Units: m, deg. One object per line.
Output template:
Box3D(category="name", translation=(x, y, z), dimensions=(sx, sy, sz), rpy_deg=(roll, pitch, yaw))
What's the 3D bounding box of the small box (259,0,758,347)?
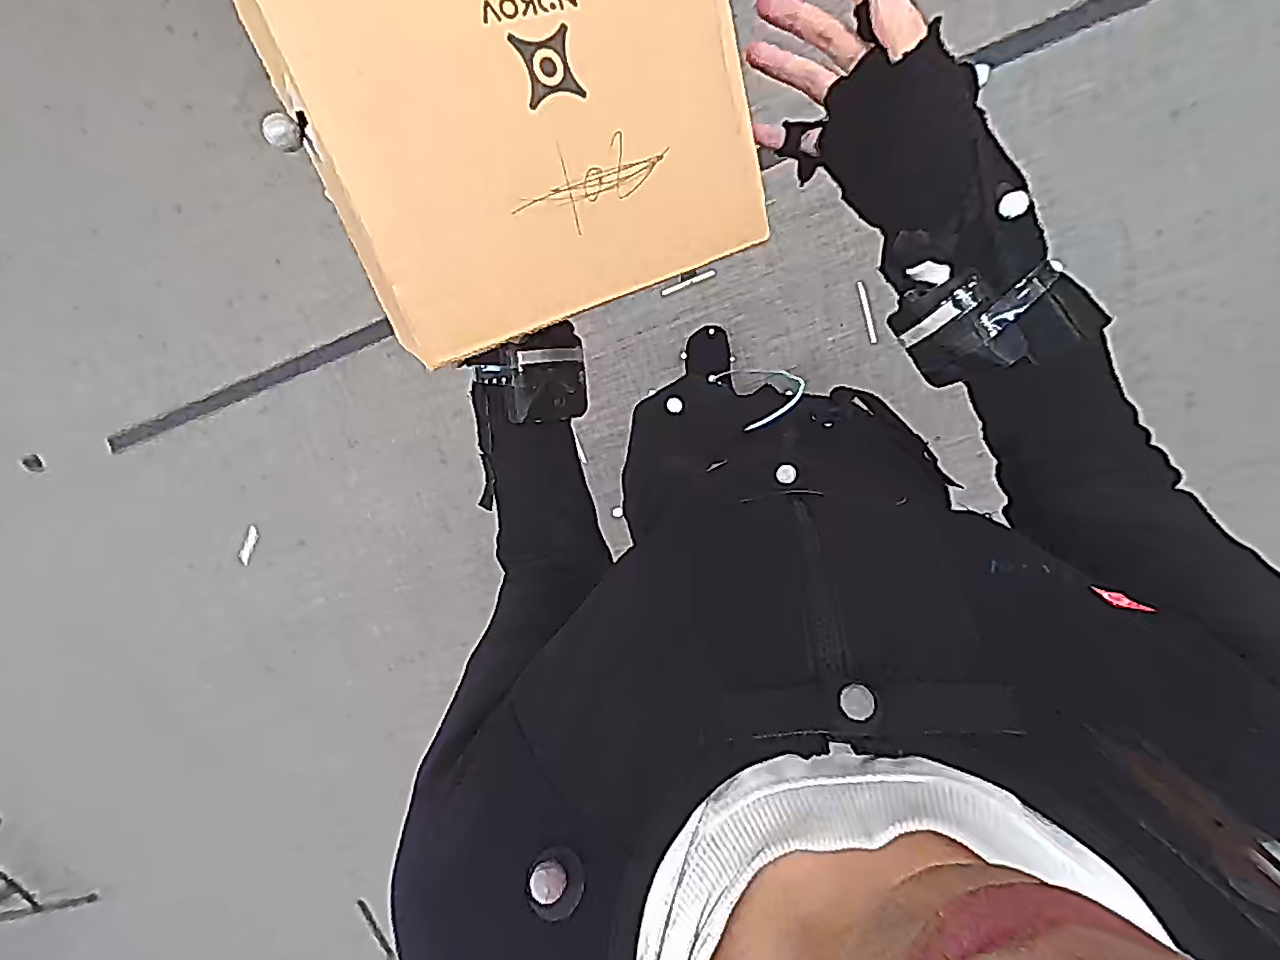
Box3D(category="small box", translation=(-0.070, -0.179, 0.275), dimensions=(0.168, 0.176, 0.179), rpy_deg=(-26, 115, -18))
